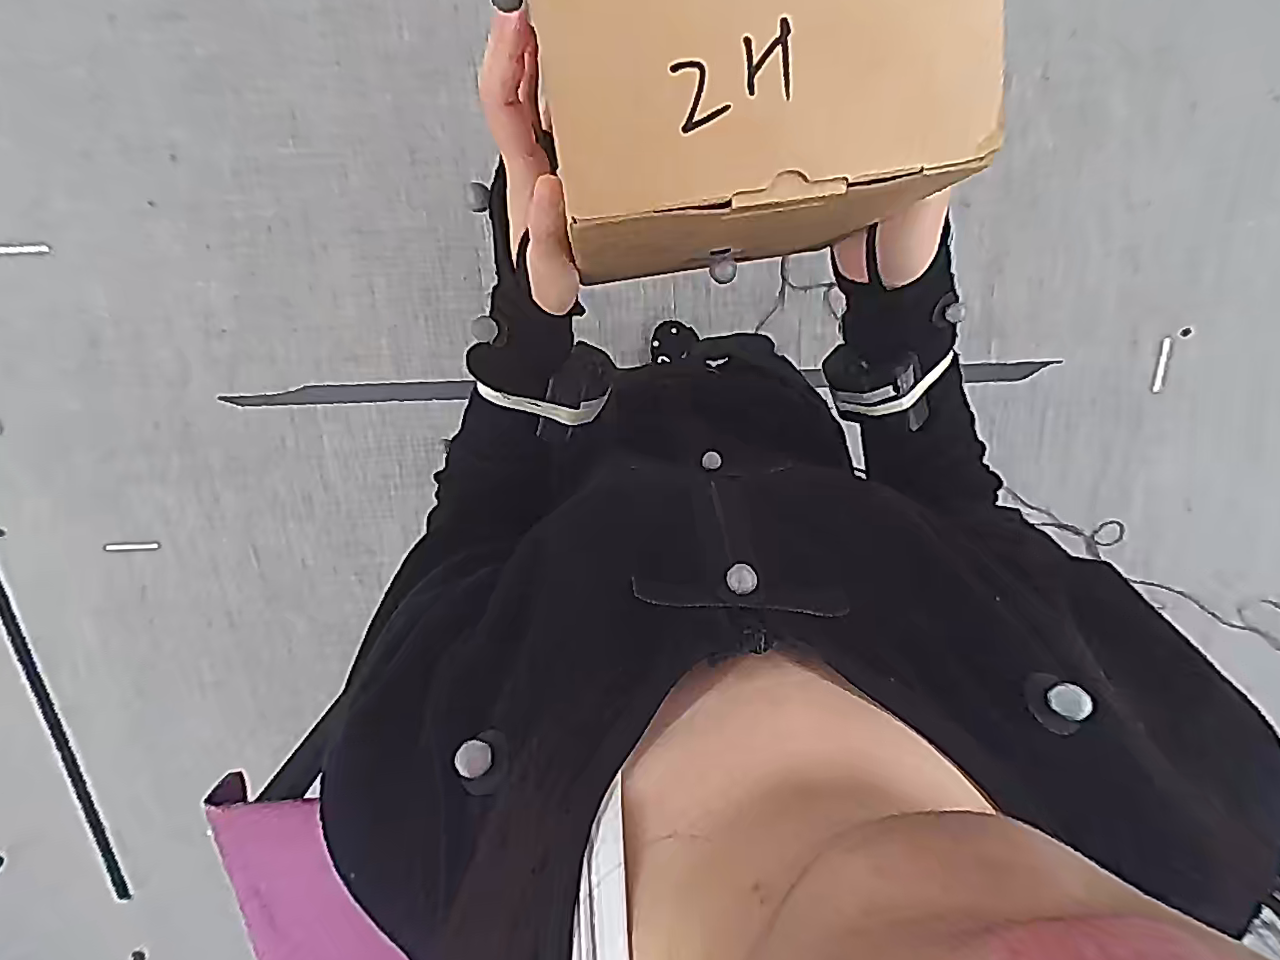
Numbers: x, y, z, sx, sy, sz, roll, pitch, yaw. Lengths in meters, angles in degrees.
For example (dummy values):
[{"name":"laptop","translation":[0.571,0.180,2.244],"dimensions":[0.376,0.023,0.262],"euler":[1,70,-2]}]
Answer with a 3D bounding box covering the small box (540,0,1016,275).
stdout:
[{"name":"small box","translation":[0.040,-0.212,0.258],"dimensions":[0.168,0.176,0.179],"euler":[-10,103,-3]}]
